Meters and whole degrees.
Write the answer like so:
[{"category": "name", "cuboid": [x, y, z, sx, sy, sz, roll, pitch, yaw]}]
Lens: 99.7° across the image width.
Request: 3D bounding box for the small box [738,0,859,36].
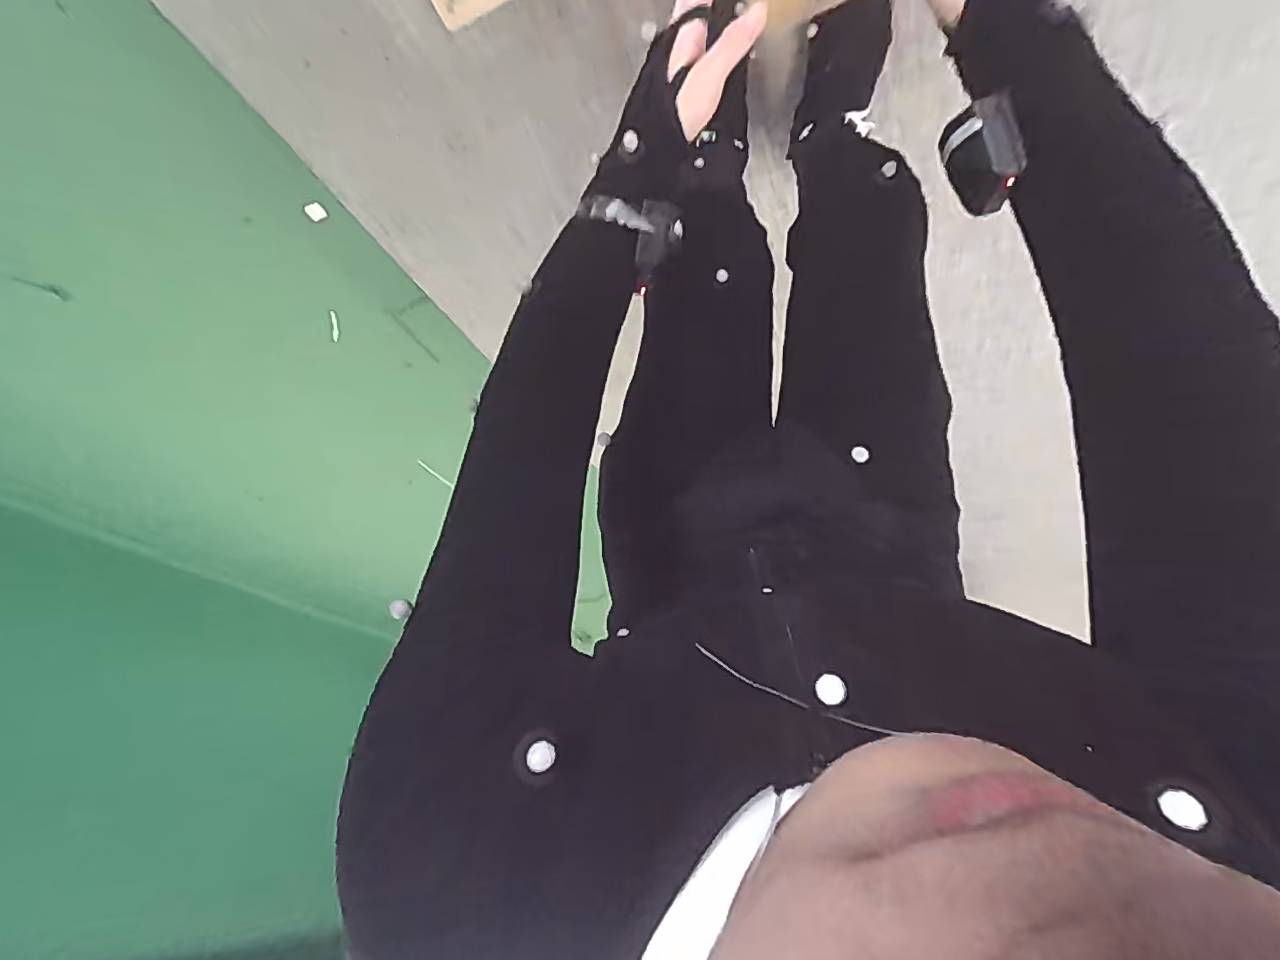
[{"category": "small box", "cuboid": [0.150, -0.493, 0.423, 0.168, 0.176, 0.179, -10, 109, 27]}]
